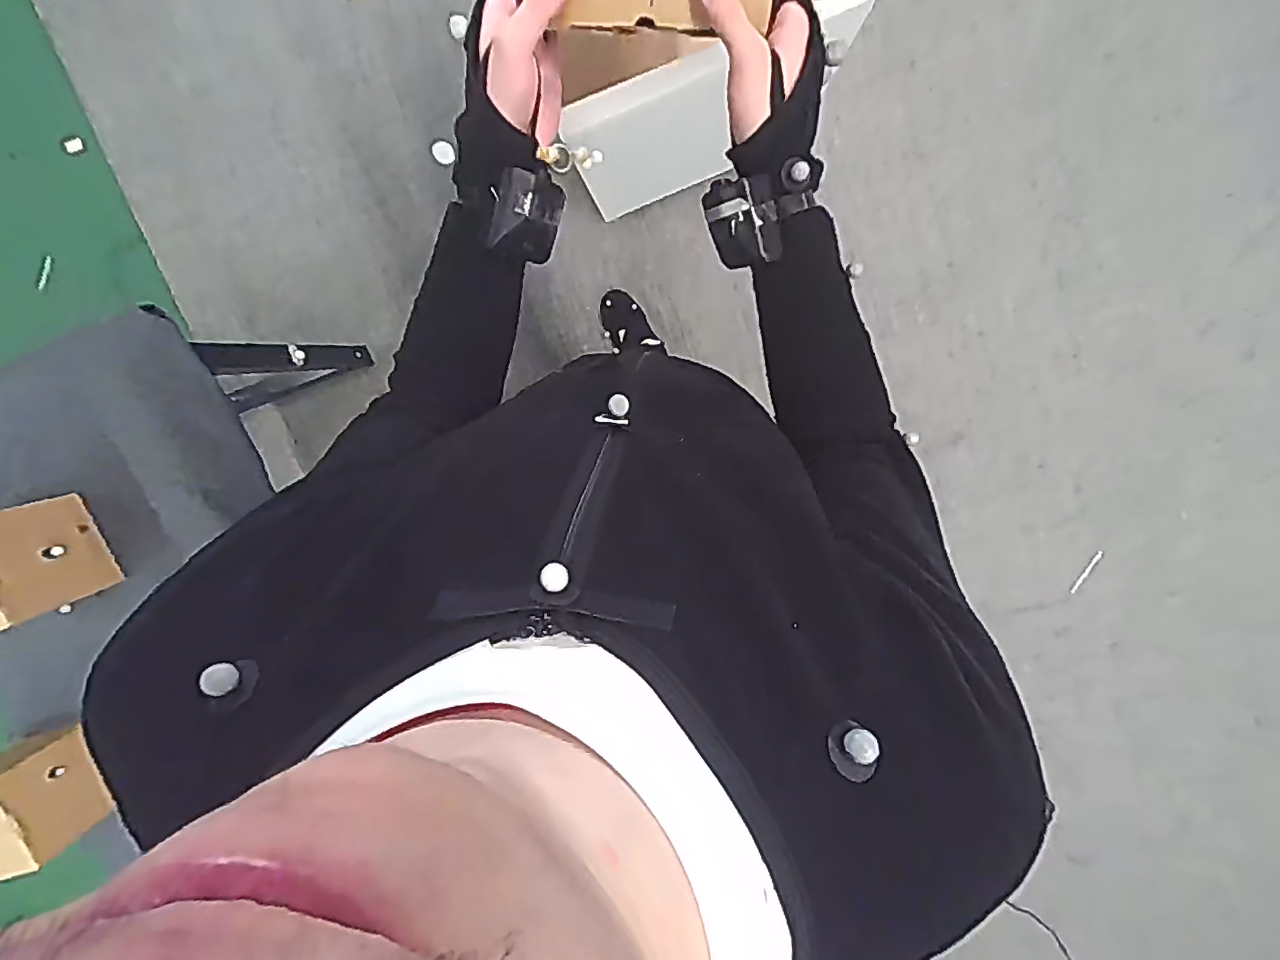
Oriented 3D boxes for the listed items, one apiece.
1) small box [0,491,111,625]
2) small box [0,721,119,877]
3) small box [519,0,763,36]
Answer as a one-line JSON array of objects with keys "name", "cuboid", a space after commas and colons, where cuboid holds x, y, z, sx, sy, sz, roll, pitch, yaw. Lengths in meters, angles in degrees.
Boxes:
[{"name": "small box", "cuboid": [-0.989, 0.129, 0.838, 0.179, 0.176, 0.168, -18, 102, 6]}, {"name": "small box", "cuboid": [-1.062, 0.547, 0.927, 0.179, 0.176, 0.168, -19, 101, 8]}, {"name": "small box", "cuboid": [0.012, -0.422, 0.354, 0.168, 0.176, 0.179, 6, 137, 3]}]
